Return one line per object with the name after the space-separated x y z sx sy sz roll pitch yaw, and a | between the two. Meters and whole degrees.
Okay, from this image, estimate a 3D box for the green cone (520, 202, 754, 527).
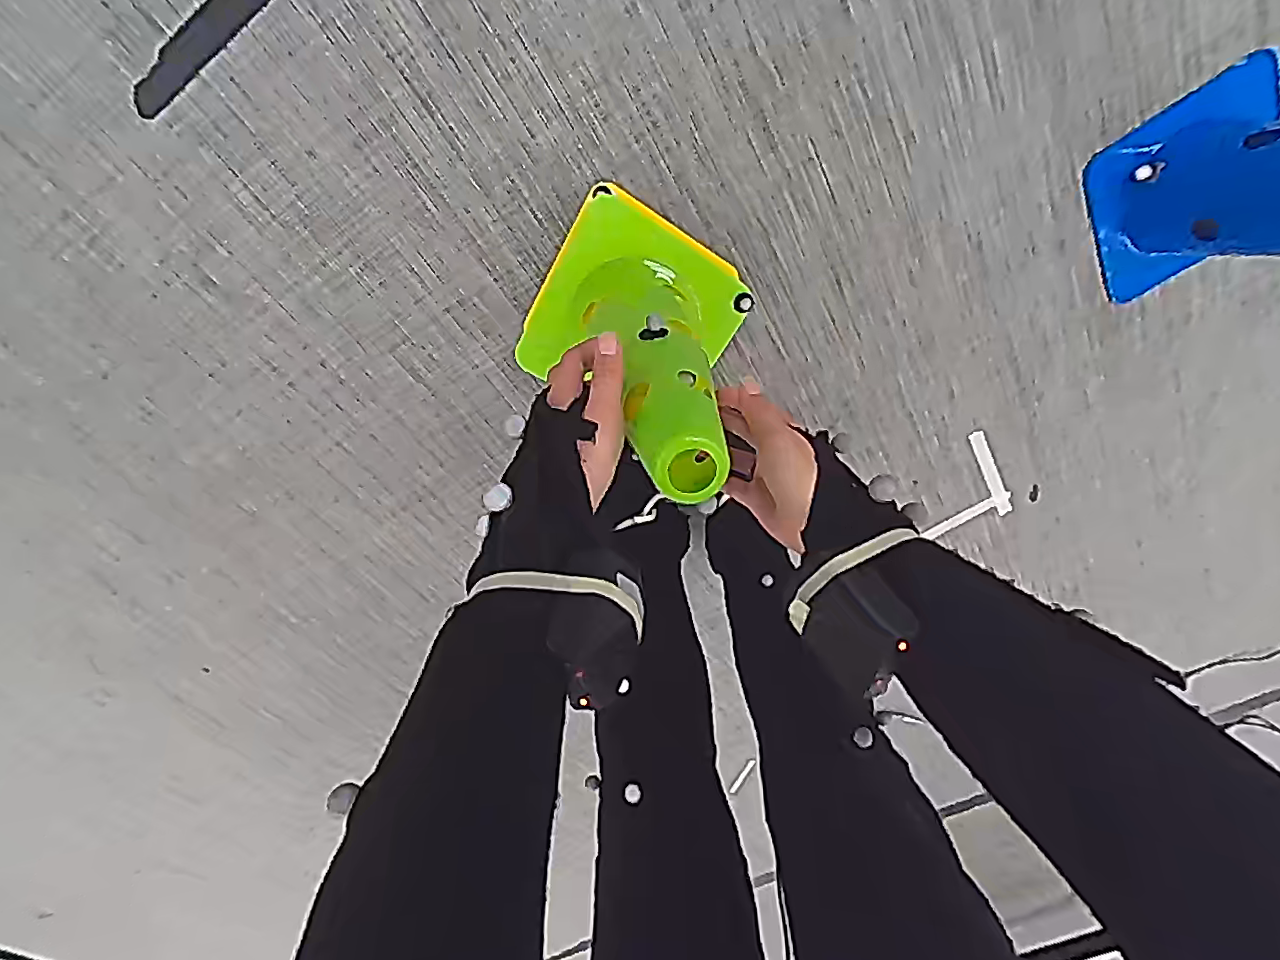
0.009 -0.079 0.429 0.200 0.368 0.202 27 112 -17 | green cone
